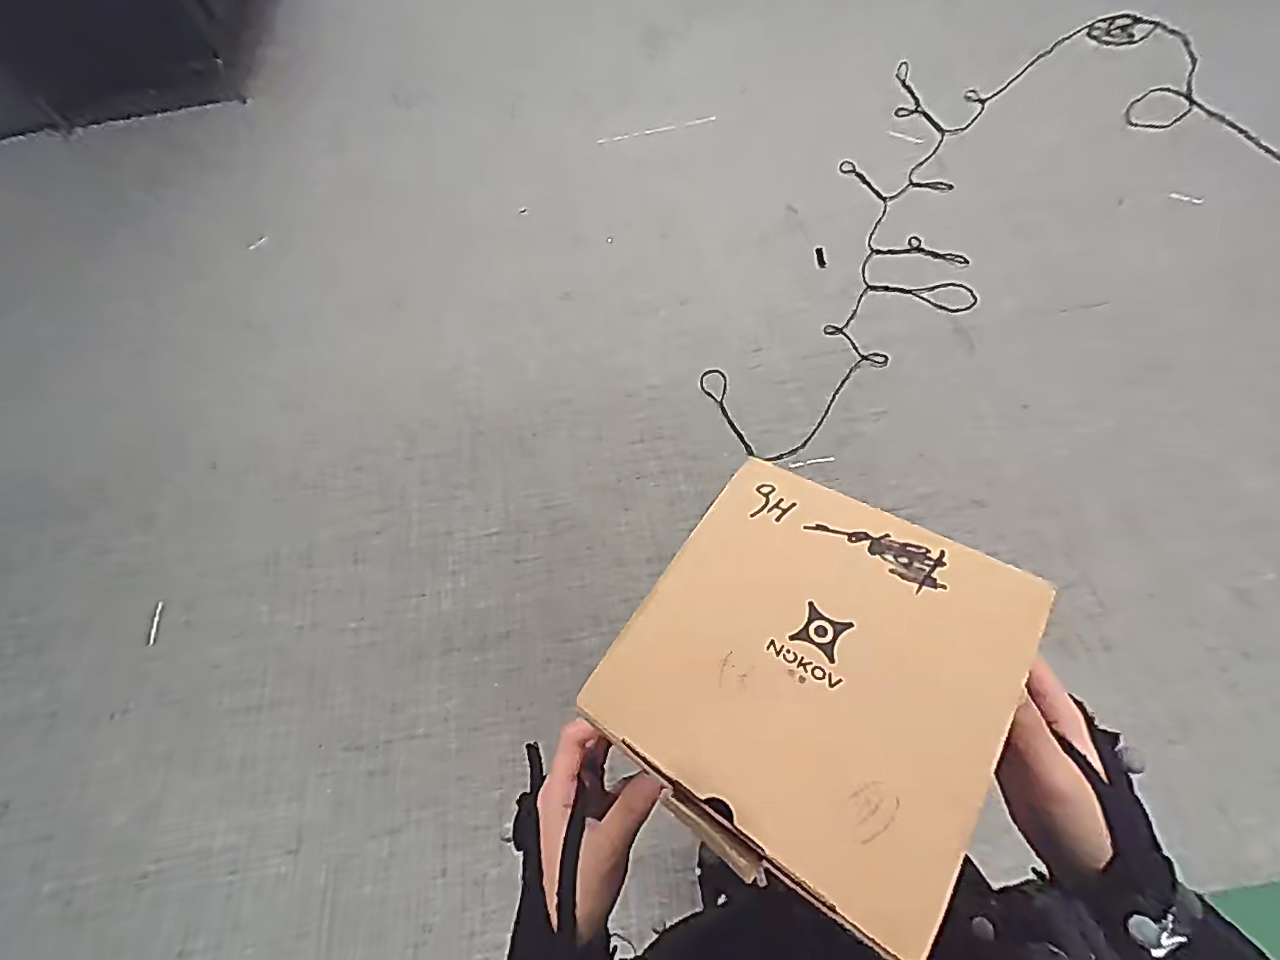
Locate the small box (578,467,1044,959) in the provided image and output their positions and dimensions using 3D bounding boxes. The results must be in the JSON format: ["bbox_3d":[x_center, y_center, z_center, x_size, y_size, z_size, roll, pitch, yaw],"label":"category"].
[{"bbox_3d":[0.096,0.131,0.328,0.168,0.176,0.179,27,65,27],"label":"small box"}]
